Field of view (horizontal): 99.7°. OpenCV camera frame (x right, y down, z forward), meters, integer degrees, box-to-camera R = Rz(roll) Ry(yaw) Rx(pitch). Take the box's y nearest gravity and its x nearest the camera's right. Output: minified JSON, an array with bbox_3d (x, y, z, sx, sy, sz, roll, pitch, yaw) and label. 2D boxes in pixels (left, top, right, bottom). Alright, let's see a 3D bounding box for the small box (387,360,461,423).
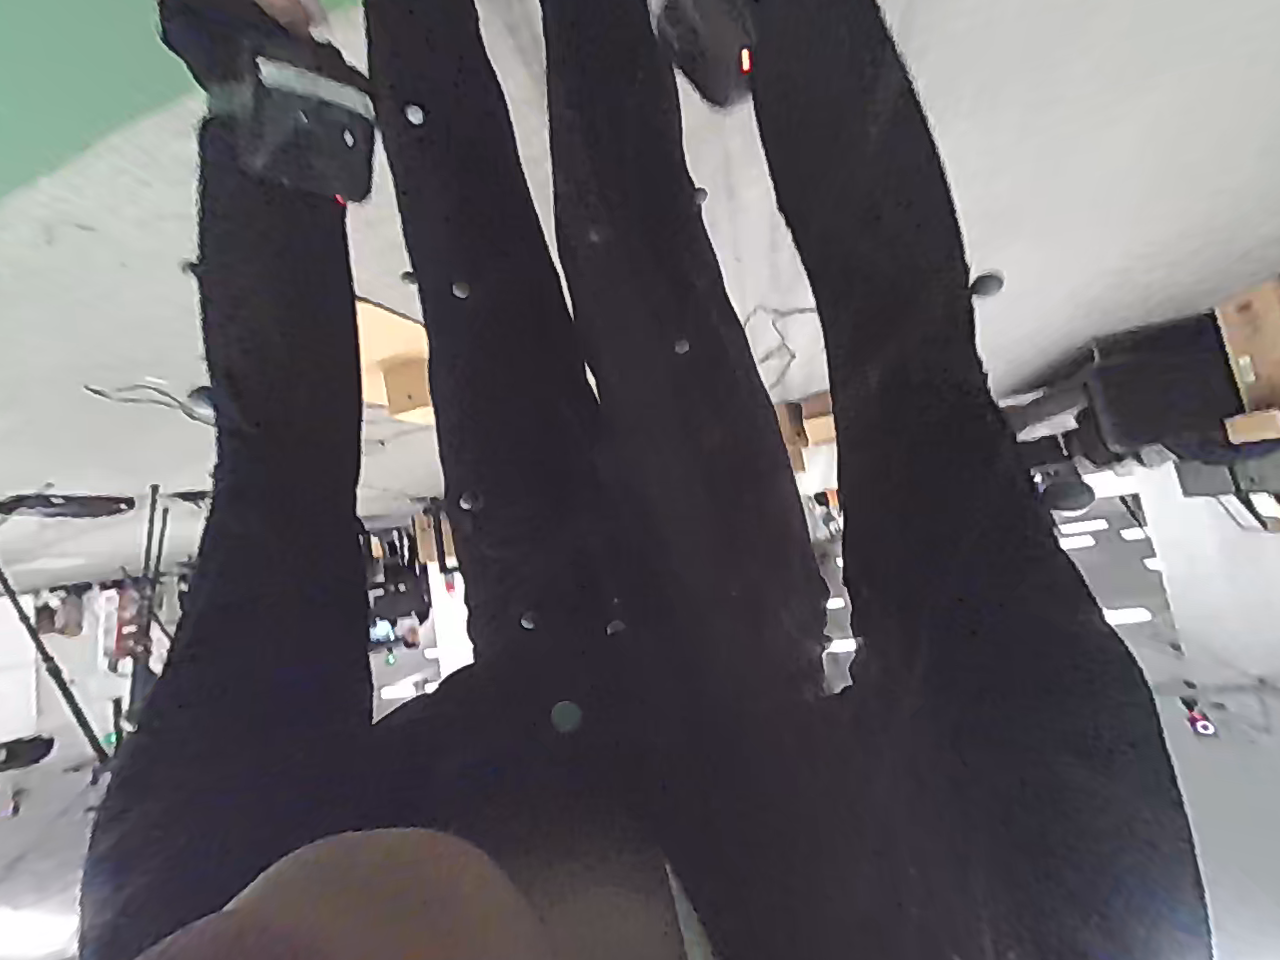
[{"bbox_3d":[-0.759,-0.309,1.890,0.179,0.176,0.168,-12,174,21],"label":"small box"}]
